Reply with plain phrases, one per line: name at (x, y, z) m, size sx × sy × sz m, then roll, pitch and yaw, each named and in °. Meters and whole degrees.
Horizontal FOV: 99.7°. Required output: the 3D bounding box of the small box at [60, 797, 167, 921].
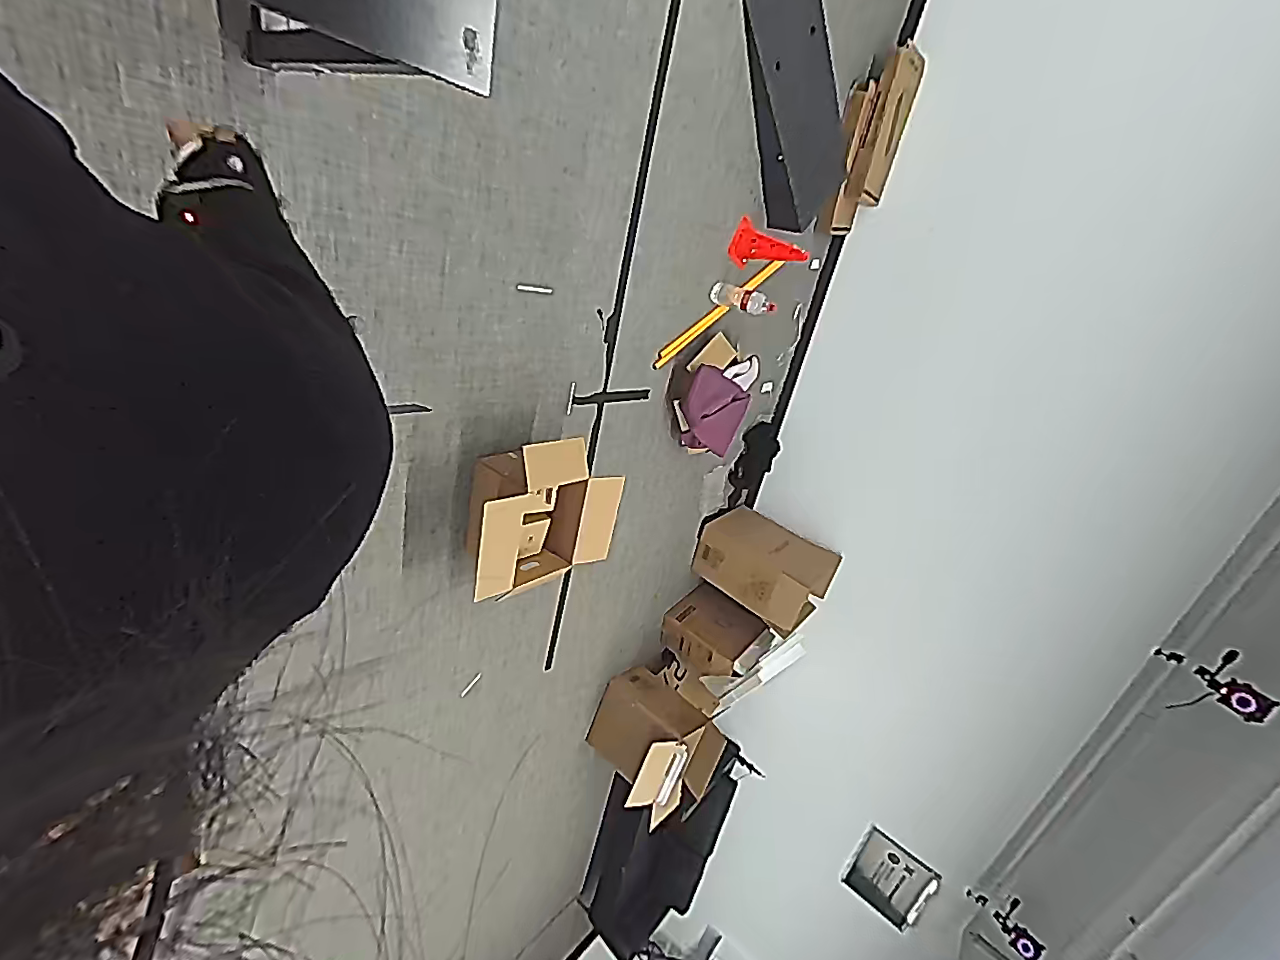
small box at (-1.402, 0.998, 1.443) m, size 0.179 × 0.176 × 0.168 m, roll -10°, pitch 120°, yaw -51°
